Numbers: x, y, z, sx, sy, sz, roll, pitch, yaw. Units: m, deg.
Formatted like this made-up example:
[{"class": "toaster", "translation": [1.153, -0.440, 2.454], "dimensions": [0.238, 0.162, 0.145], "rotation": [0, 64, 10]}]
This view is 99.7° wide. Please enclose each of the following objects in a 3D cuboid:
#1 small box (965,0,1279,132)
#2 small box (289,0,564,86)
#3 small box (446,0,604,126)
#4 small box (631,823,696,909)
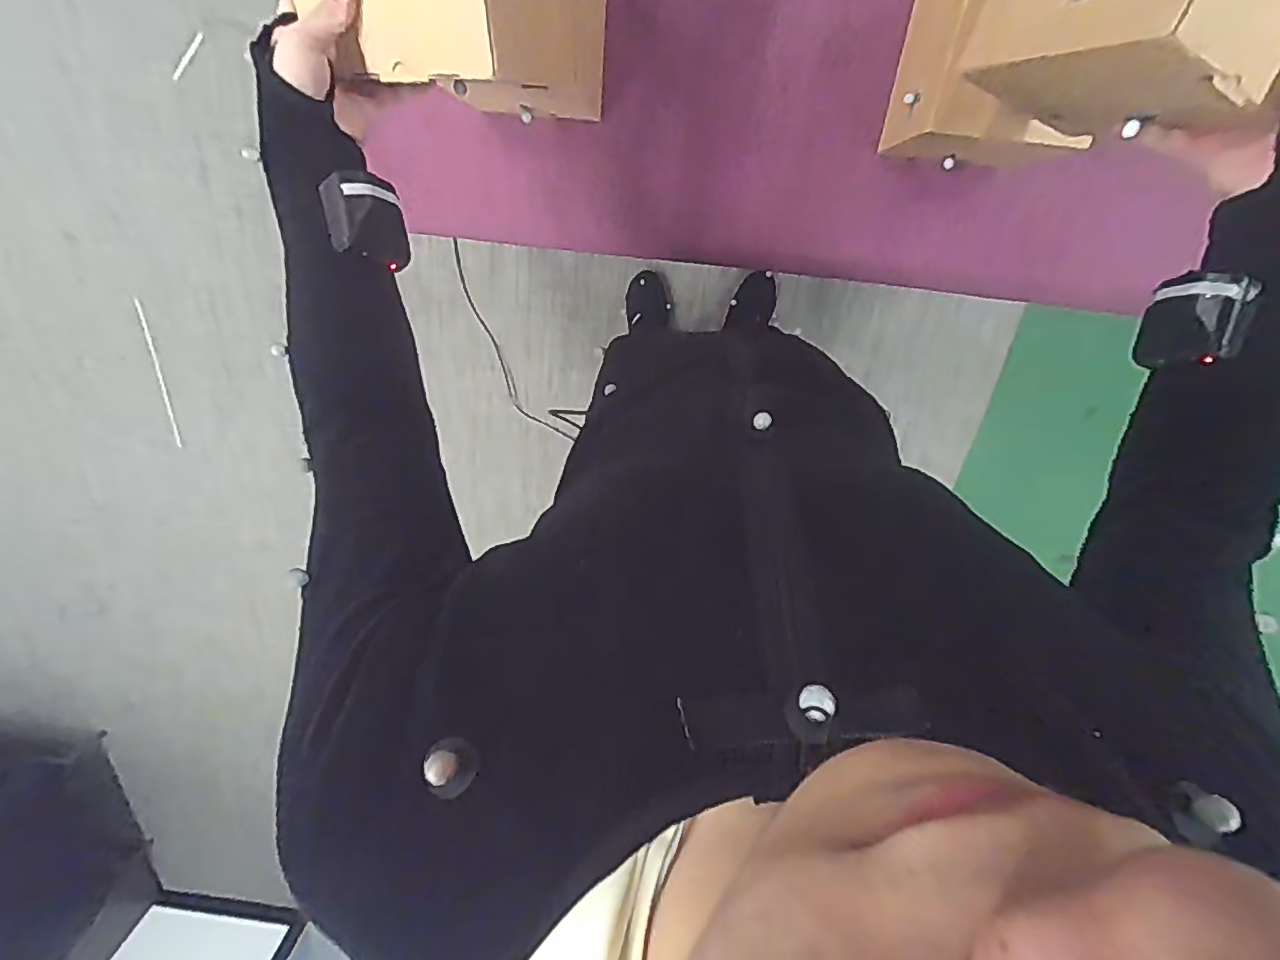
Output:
[{"class": "small box", "translation": [0.378, -0.372, 0.386], "dimensions": [0.168, 0.176, 0.179], "rotation": [6, 116, -25]}, {"class": "small box", "translation": [-0.173, -0.438, 0.449], "dimensions": [0.168, 0.176, 0.179], "rotation": [10, 128, 13]}, {"class": "small box", "translation": [-0.135, -0.527, 0.612], "dimensions": [0.168, 0.176, 0.179], "rotation": [7, 115, 3]}, {"class": "small box", "translation": [0.082, 1.305, 1.836], "dimensions": [0.179, 0.176, 0.168], "rotation": [16, 115, -2]}]
